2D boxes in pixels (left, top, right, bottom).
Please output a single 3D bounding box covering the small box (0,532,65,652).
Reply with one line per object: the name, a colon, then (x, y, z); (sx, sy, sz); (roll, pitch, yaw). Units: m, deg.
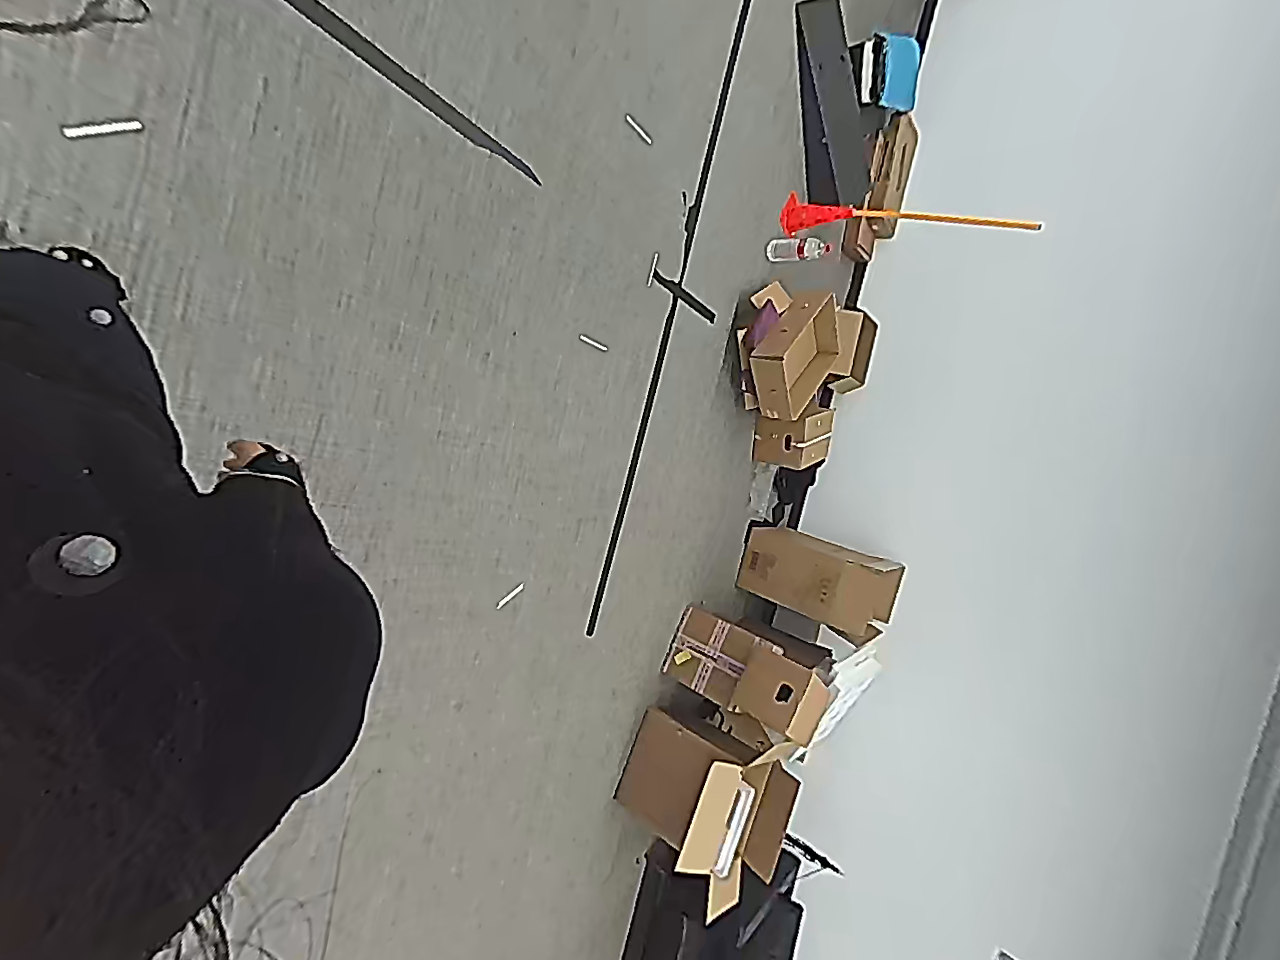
small box: (-1.150, 0.195, 0.956); (0.168, 0.176, 0.179); (-3, 104, -52)
